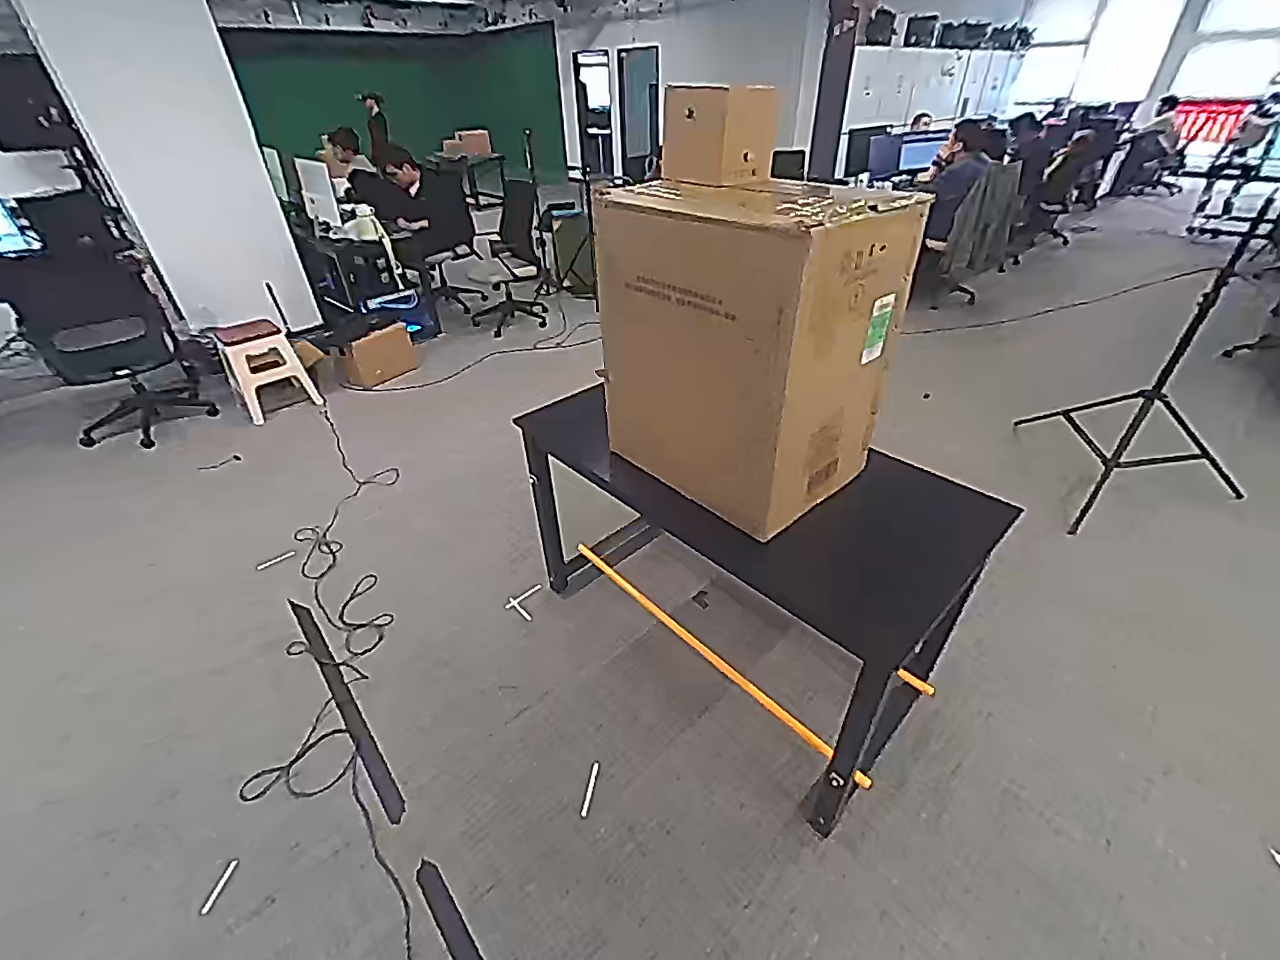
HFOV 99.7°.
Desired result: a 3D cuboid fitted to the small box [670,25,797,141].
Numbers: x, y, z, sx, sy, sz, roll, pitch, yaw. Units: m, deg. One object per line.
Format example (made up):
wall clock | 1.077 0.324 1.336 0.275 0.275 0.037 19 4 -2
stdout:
small box | 0.173 -0.769 1.057 0.168 0.176 0.179 -27 45 -33
